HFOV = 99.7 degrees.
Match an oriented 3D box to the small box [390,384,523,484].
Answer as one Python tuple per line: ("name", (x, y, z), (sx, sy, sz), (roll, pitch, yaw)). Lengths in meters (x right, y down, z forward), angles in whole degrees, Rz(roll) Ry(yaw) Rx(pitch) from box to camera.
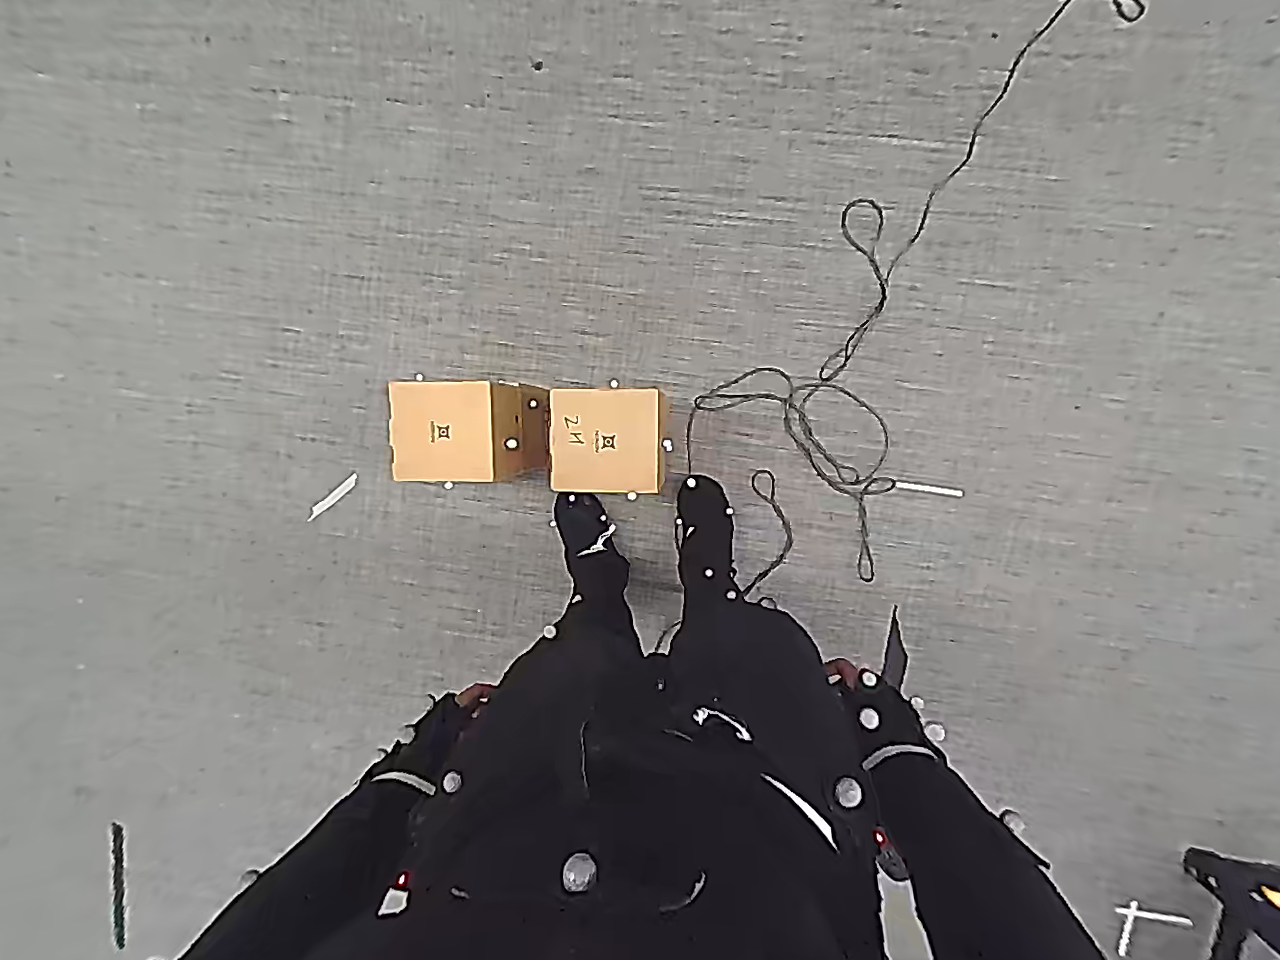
("small box", (-0.312, -0.083, 0.956), (0.179, 0.176, 0.168), (0, 96, 6))

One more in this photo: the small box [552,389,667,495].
("small box", (-0.045, -0.068, 0.927), (0.179, 0.176, 0.168), (1, 96, 6))
